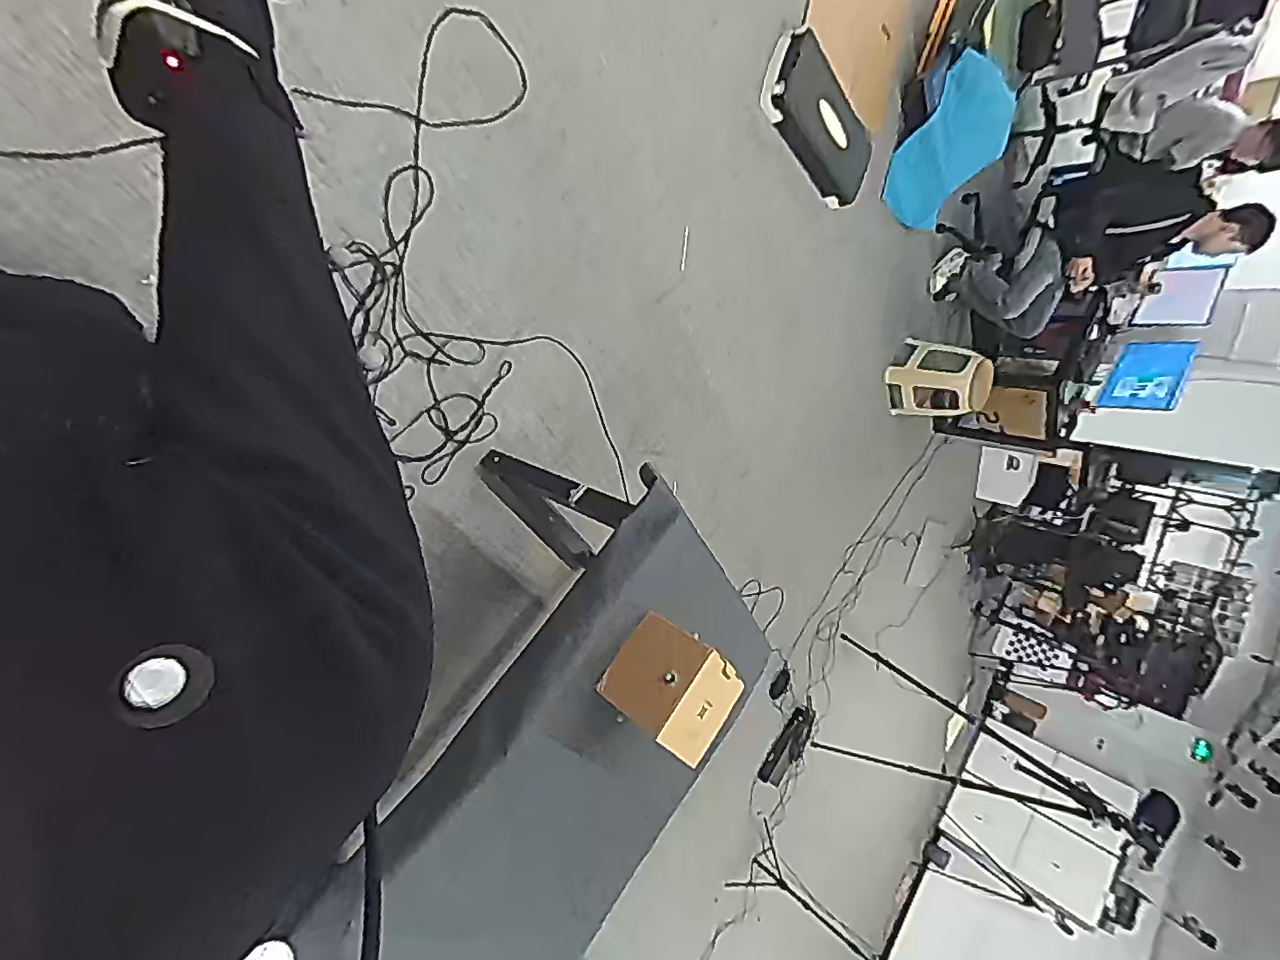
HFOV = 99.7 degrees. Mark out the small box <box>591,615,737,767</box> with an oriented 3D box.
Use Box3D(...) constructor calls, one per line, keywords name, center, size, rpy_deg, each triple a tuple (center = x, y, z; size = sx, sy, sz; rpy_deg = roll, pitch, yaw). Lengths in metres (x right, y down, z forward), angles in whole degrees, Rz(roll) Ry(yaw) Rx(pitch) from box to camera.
Box3D(name="small box", center=(0.043, 0.380, 0.997), size=(0.179, 0.176, 0.168), rpy_deg=(-51, 132, -17))
